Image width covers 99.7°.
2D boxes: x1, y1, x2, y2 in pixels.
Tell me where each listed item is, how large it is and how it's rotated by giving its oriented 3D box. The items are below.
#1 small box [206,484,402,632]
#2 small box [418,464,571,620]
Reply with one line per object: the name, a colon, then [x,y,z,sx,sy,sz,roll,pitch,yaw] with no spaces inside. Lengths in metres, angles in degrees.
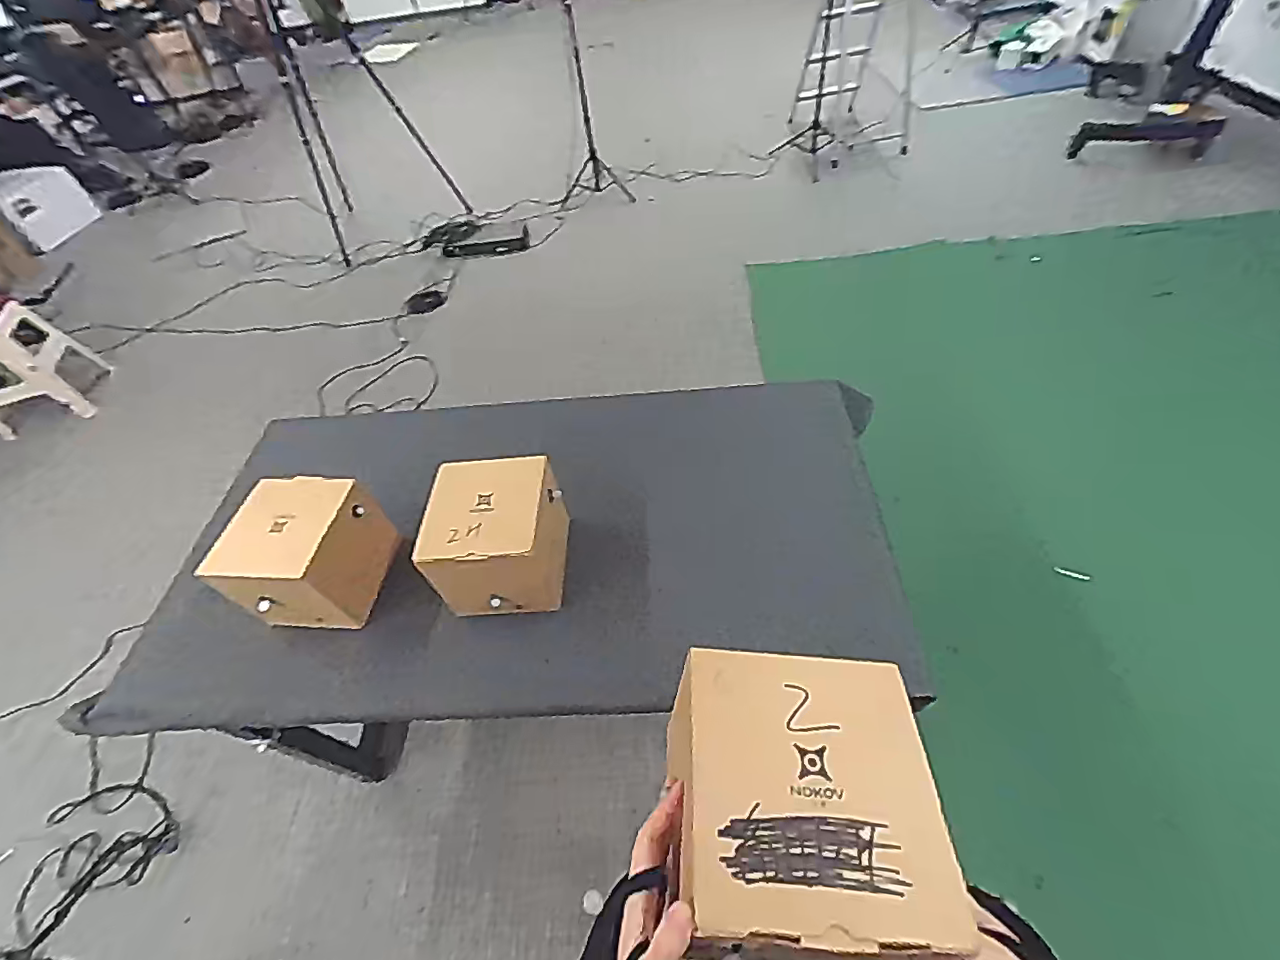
small box: [-0.507,0.125,0.852,0.168,0.176,0.179,0,50,9]
small box: [-0.207,0.097,0.829,0.168,0.176,0.179,-4,50,6]
